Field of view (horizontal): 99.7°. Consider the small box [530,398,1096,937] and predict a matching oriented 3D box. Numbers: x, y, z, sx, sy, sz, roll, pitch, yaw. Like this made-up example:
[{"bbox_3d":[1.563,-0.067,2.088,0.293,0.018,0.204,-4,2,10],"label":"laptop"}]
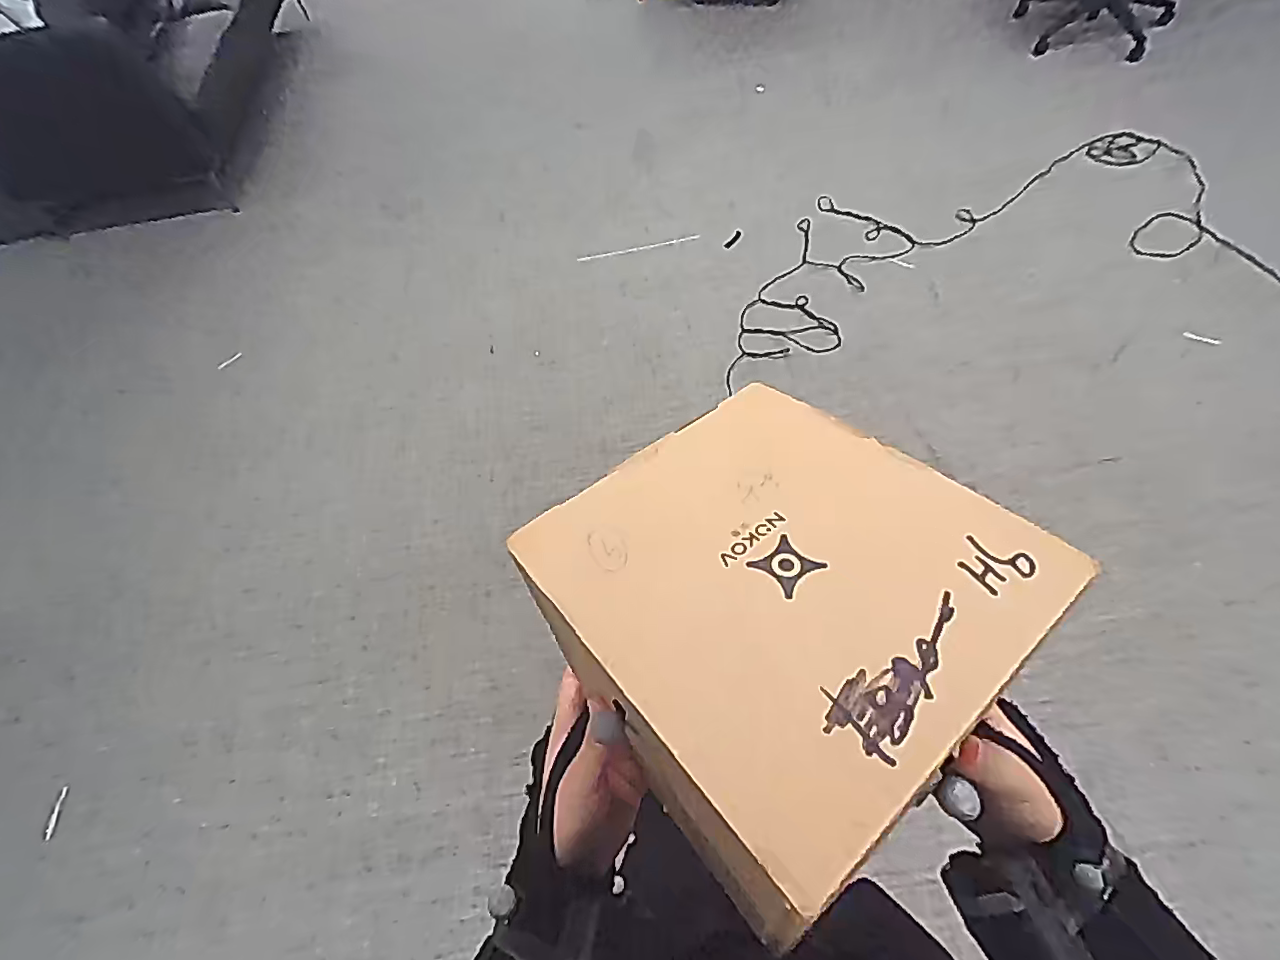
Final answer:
[{"bbox_3d":[0.072,0.091,0.286,0.168,0.176,0.179,-35,49,-21],"label":"small box"}]
